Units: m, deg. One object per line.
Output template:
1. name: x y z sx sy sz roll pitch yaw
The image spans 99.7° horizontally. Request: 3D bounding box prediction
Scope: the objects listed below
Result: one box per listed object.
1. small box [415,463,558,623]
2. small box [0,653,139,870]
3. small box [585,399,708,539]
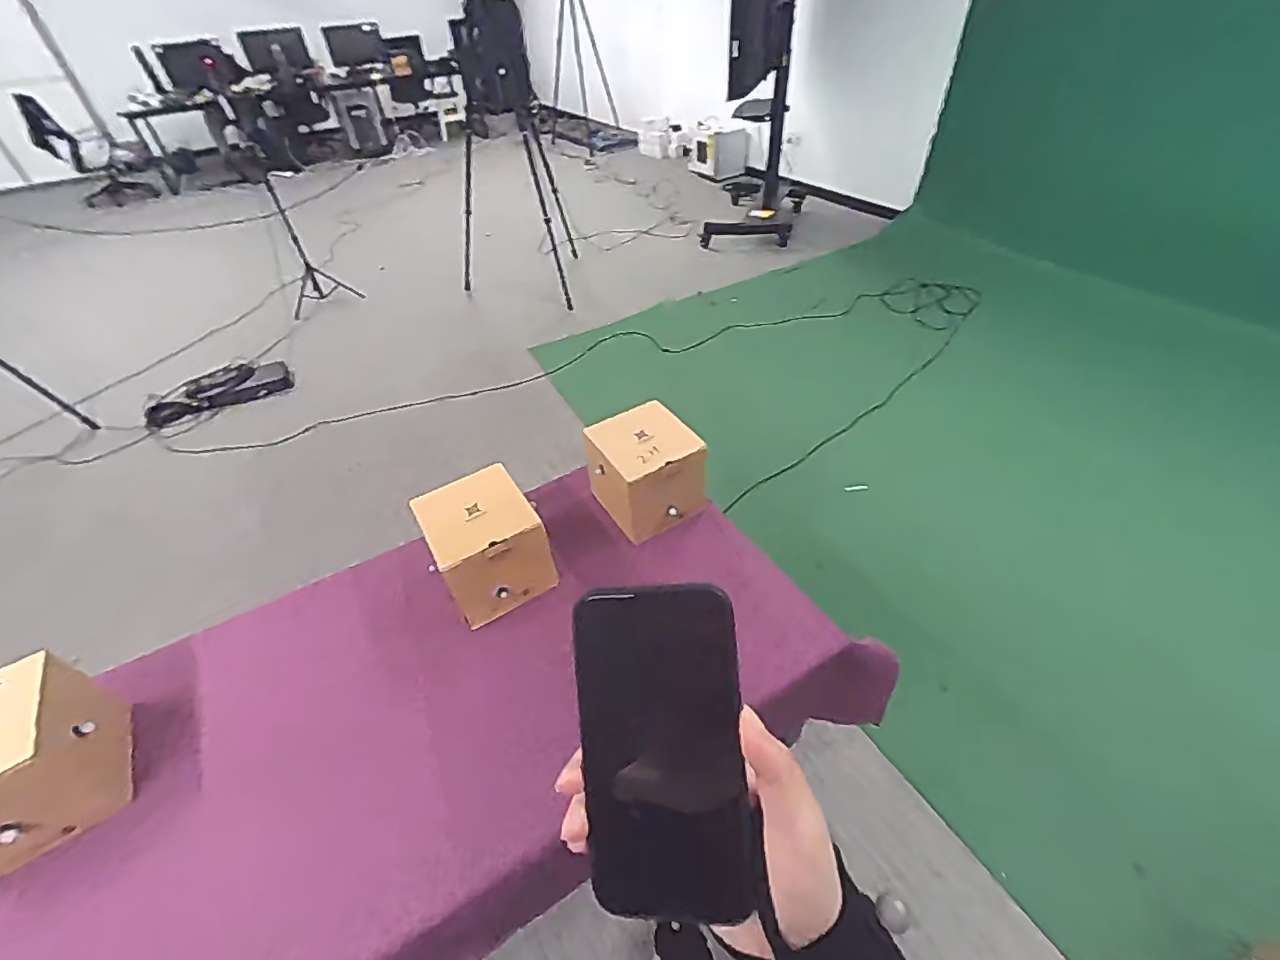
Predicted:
1. small box: -0.259 0.108 0.928 0.168 0.176 0.179 -27 48 -21
2. small box: -0.800 0.369 0.703 0.168 0.176 0.179 -28 49 -23
3. small box: 0.013 -0.022 1.031 0.168 0.176 0.179 -26 48 -19
